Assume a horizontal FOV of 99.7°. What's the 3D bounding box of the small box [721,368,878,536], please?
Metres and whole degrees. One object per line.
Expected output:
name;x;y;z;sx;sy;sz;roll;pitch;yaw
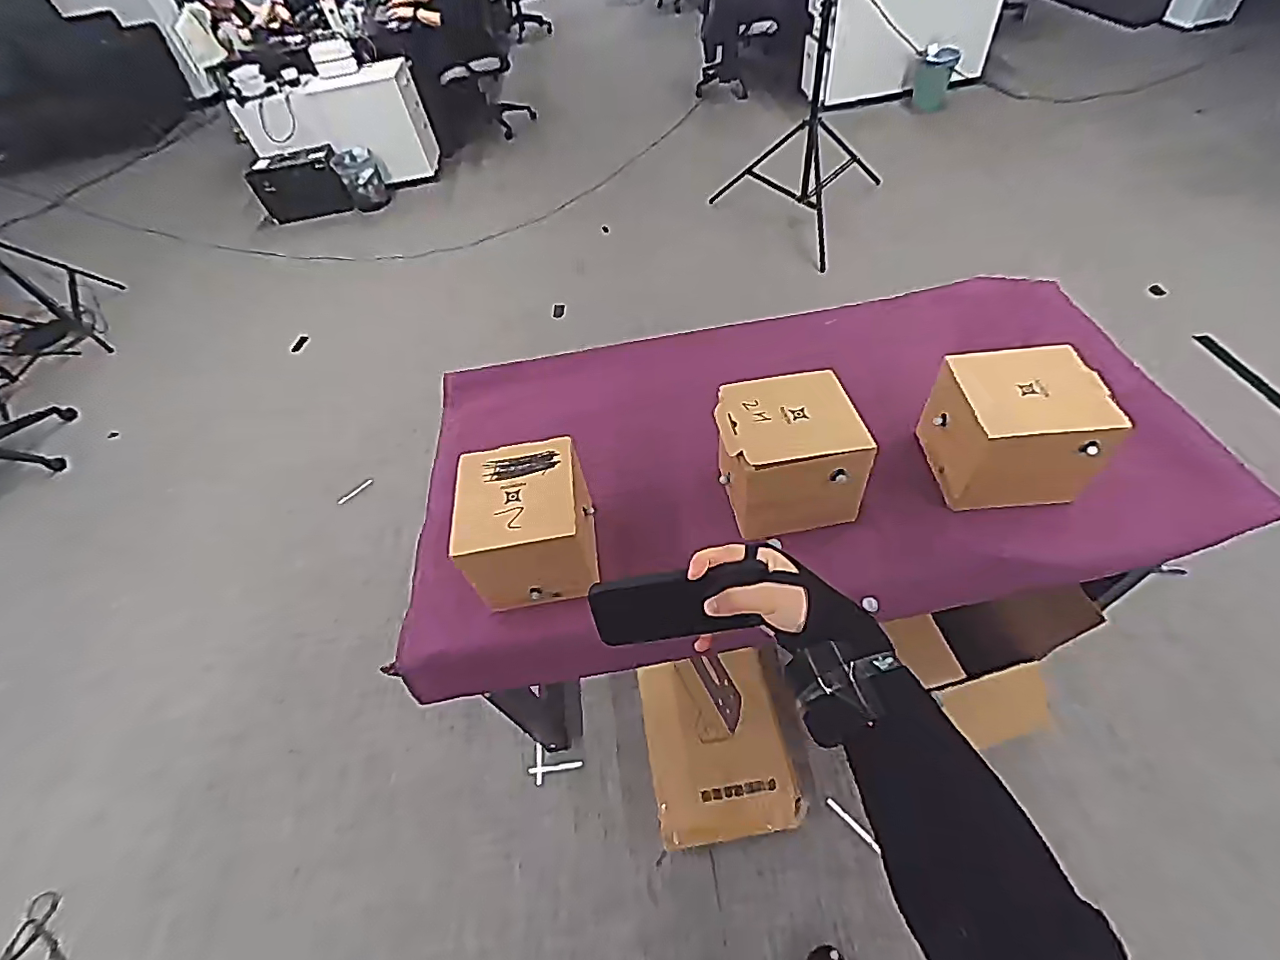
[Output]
small box;0.222;-0.038;0.808;0.179;0.176;0.168;-11;49;0

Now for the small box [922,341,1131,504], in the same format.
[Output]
small box;0.537;-0.078;0.791;0.179;0.176;0.168;-5;52;5
